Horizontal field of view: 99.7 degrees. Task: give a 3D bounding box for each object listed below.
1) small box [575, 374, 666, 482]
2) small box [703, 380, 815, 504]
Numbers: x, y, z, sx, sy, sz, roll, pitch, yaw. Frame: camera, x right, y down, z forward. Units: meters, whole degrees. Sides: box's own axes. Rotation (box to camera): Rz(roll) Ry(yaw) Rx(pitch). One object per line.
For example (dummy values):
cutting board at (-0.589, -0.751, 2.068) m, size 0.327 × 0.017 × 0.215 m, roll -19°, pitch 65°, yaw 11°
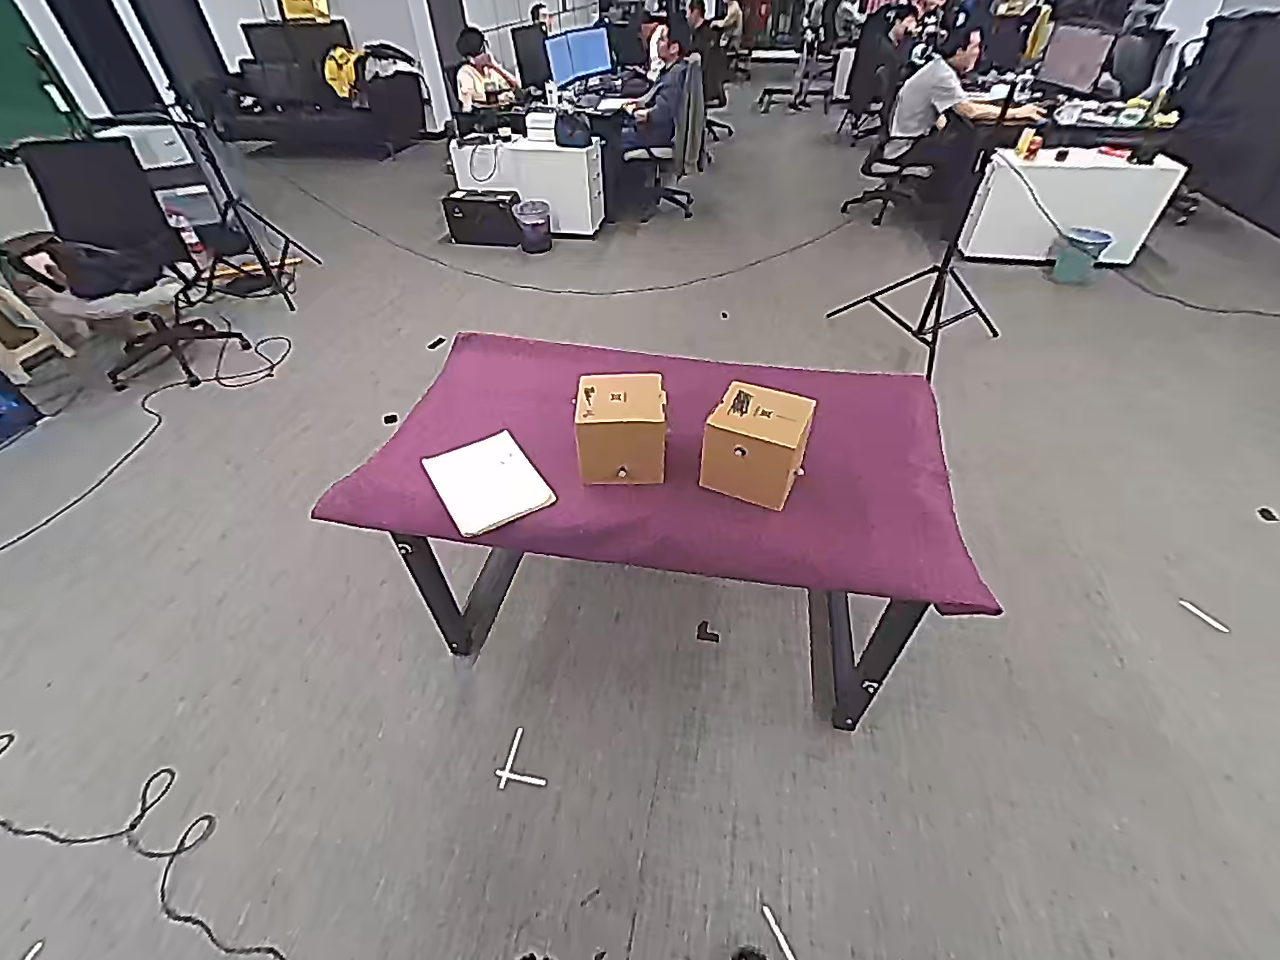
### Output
small box at (-0.038, -0.108, 1.146) m, size 0.179 × 0.176 × 0.168 m, roll -1°, pitch 43°, yaw 0°
small box at (0.236, -0.075, 1.099) m, size 0.179 × 0.176 × 0.168 m, roll 18°, pitch 46°, yaw 20°
